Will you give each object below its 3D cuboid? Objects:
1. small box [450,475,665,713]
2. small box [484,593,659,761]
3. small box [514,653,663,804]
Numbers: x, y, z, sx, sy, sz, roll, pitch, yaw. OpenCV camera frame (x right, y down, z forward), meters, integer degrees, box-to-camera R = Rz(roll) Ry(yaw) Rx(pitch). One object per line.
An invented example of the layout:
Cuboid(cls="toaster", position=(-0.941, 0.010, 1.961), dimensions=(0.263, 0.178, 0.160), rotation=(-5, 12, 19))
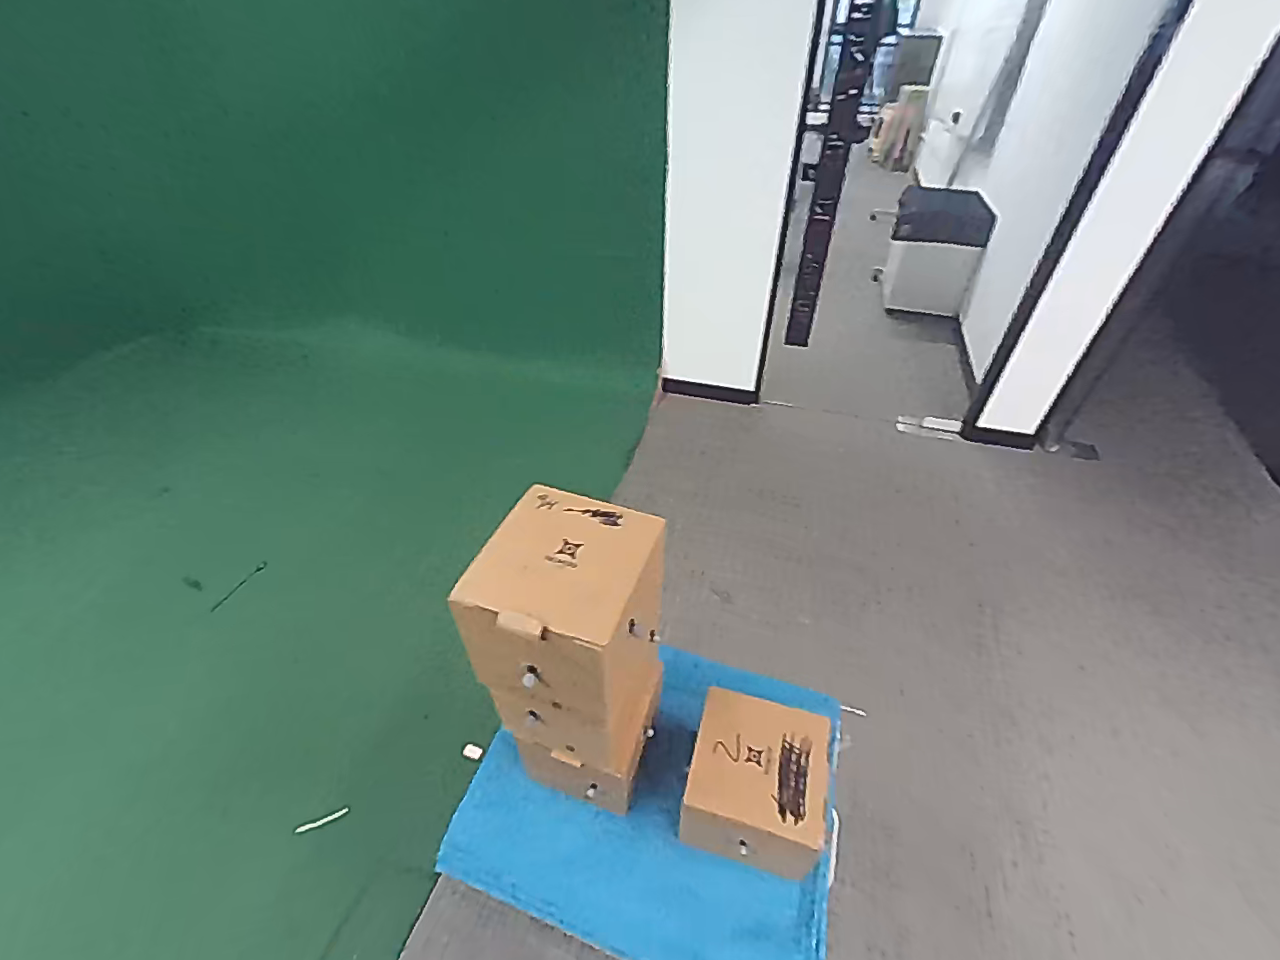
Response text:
Cuboid(cls="small box", position=(-0.077, 0.127, 0.607), dimensions=(0.168, 0.176, 0.179), rotation=(15, 44, 15))
Cuboid(cls="small box", position=(-0.079, 0.240, 0.726), dimensions=(0.168, 0.176, 0.179), rotation=(15, 44, 15))
Cuboid(cls="small box", position=(-0.068, 0.362, 0.832), dimensions=(0.168, 0.176, 0.179), rotation=(14, 44, 14))
